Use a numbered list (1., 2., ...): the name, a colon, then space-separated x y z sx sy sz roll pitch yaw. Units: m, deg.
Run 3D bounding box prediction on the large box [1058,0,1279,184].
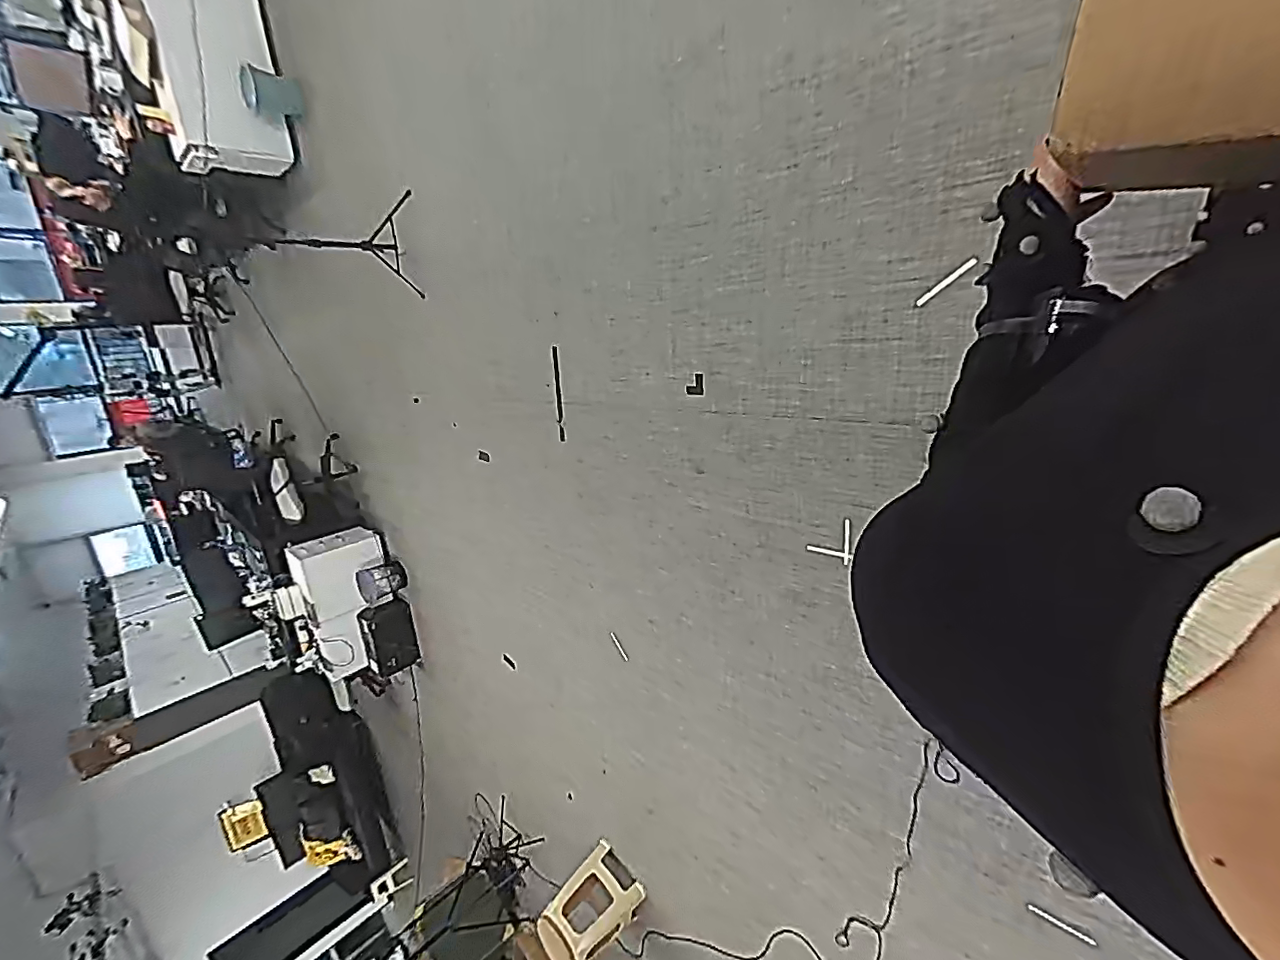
1. large box: 0.433 -0.306 0.189 0.408 0.320 0.320 16 120 35
